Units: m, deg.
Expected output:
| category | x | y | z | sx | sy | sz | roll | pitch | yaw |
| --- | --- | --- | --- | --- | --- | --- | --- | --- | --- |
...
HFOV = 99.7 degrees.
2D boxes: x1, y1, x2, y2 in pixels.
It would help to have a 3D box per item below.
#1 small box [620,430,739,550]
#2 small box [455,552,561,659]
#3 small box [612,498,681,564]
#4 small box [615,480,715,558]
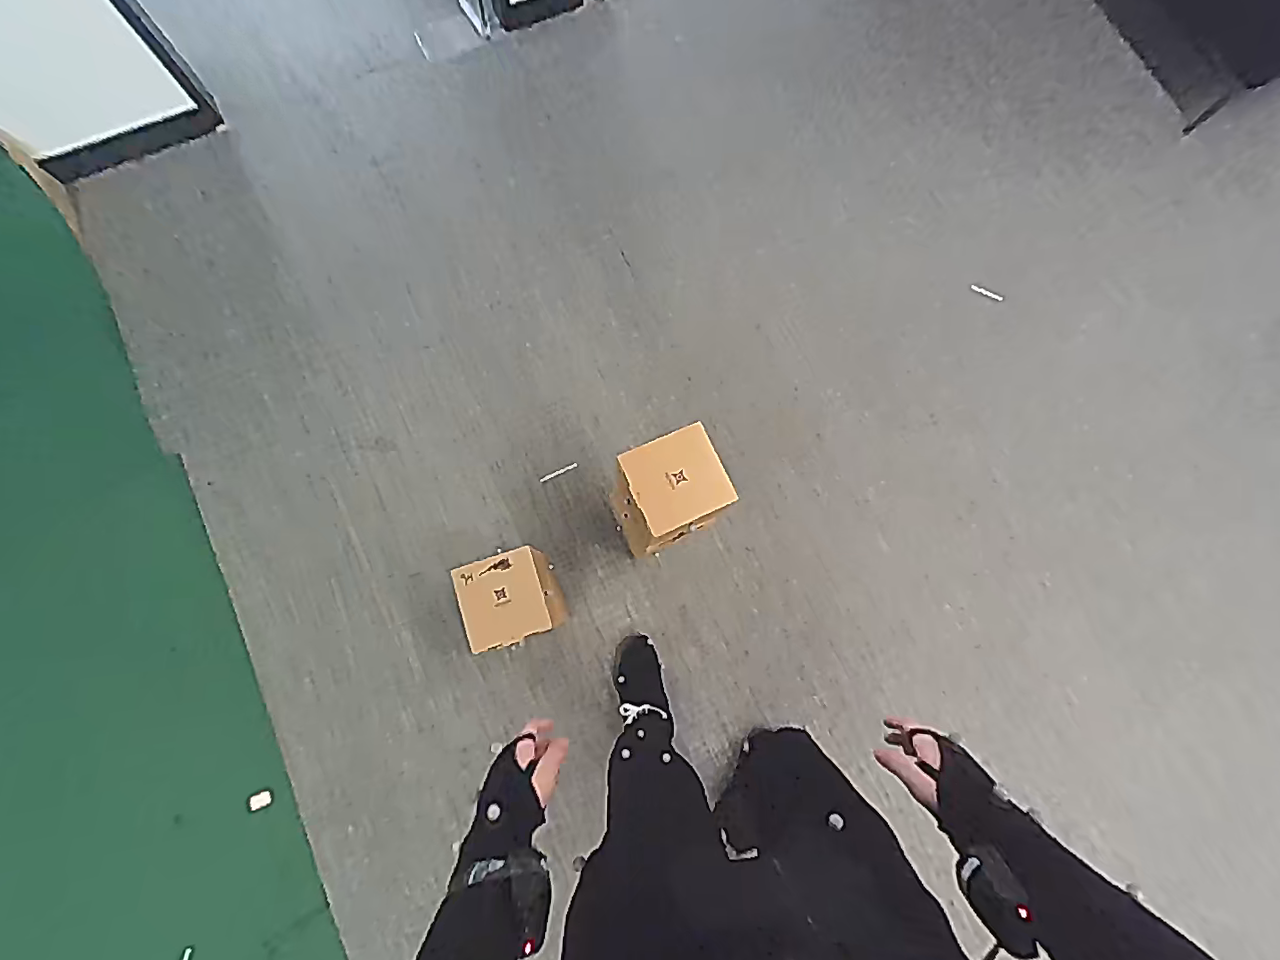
| category | x | y | z | sx | sy | sz | roll | pitch | yaw |
| --- | --- | --- | --- | --- | --- | --- | --- | --- | --- |
| small box | 0.067 | 0.027 | 1.070 | 0.179 | 0.176 | 0.168 | -24 | 79 | -7 |
| small box | -0.276 | 0.267 | 1.164 | 0.168 | 0.176 | 0.179 | -17 | 78 | -7 |
| small box | 0.041 | 0.106 | 1.385 | 0.179 | 0.176 | 0.168 | -24 | 79 | -8 |
| small box | 0.052 | 0.070 | 1.226 | 0.168 | 0.176 | 0.179 | -23 | 78 | -8 |
